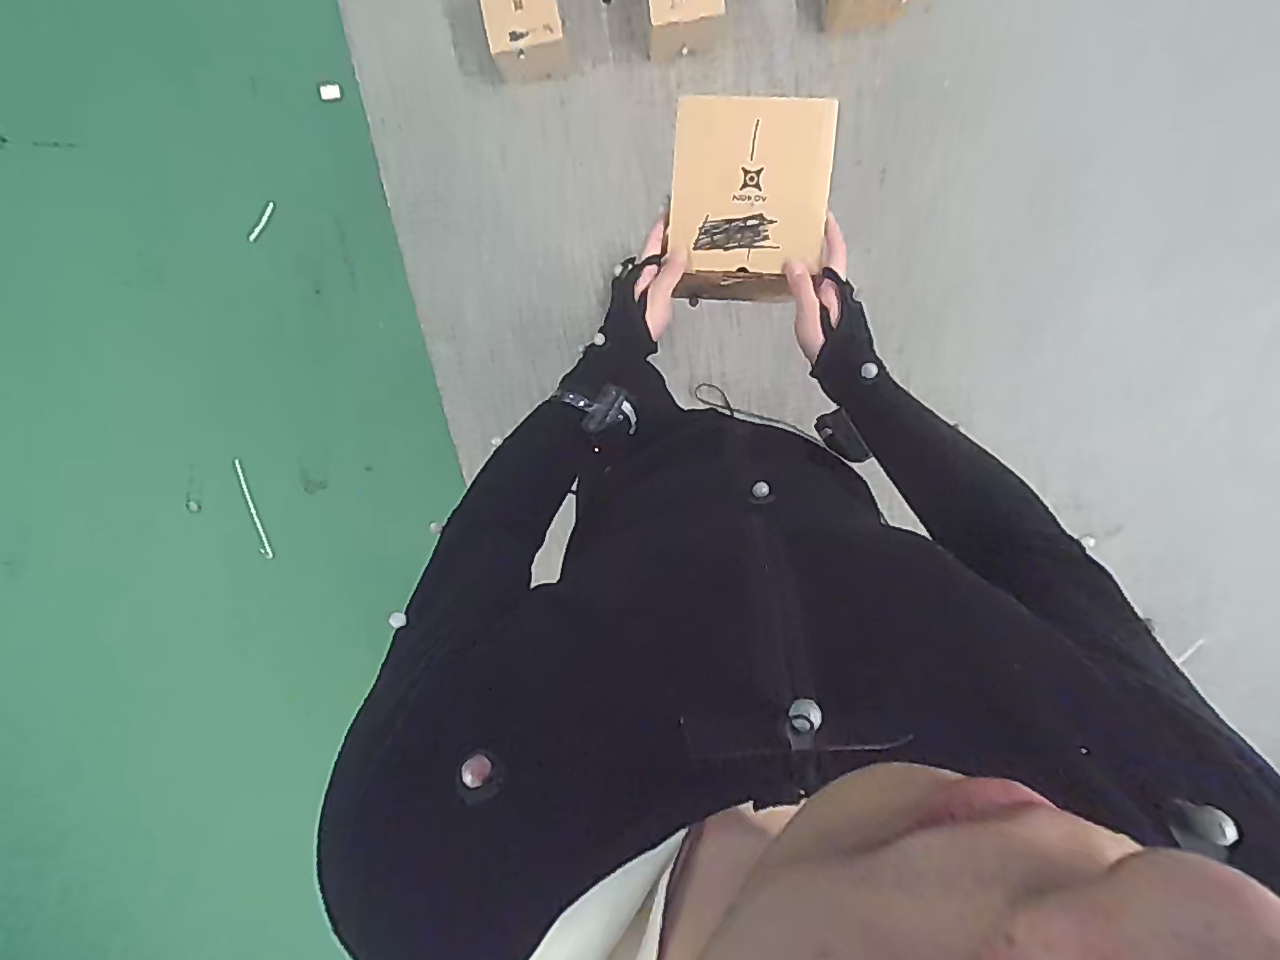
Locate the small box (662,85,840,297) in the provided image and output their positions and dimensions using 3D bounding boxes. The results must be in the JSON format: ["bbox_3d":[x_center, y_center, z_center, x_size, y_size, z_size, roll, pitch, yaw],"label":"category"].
[{"bbox_3d":[0.118,-0.317,0.628,0.168,0.176,0.179,4,99,4],"label":"small box"}]

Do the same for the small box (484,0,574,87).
[{"bbox_3d":[-0.254,-1.048,1.239,0.168,0.176,0.179,-9,104,3],"label":"small box"}]

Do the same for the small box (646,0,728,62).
[{"bbox_3d":[0.100,-1.097,1.225,0.168,0.176,0.179,-8,105,3],"label":"small box"}]

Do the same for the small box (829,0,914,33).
[{"bbox_3d":[0.532,-1.148,1.212,0.179,0.176,0.168,-8,105,1],"label":"small box"}]
